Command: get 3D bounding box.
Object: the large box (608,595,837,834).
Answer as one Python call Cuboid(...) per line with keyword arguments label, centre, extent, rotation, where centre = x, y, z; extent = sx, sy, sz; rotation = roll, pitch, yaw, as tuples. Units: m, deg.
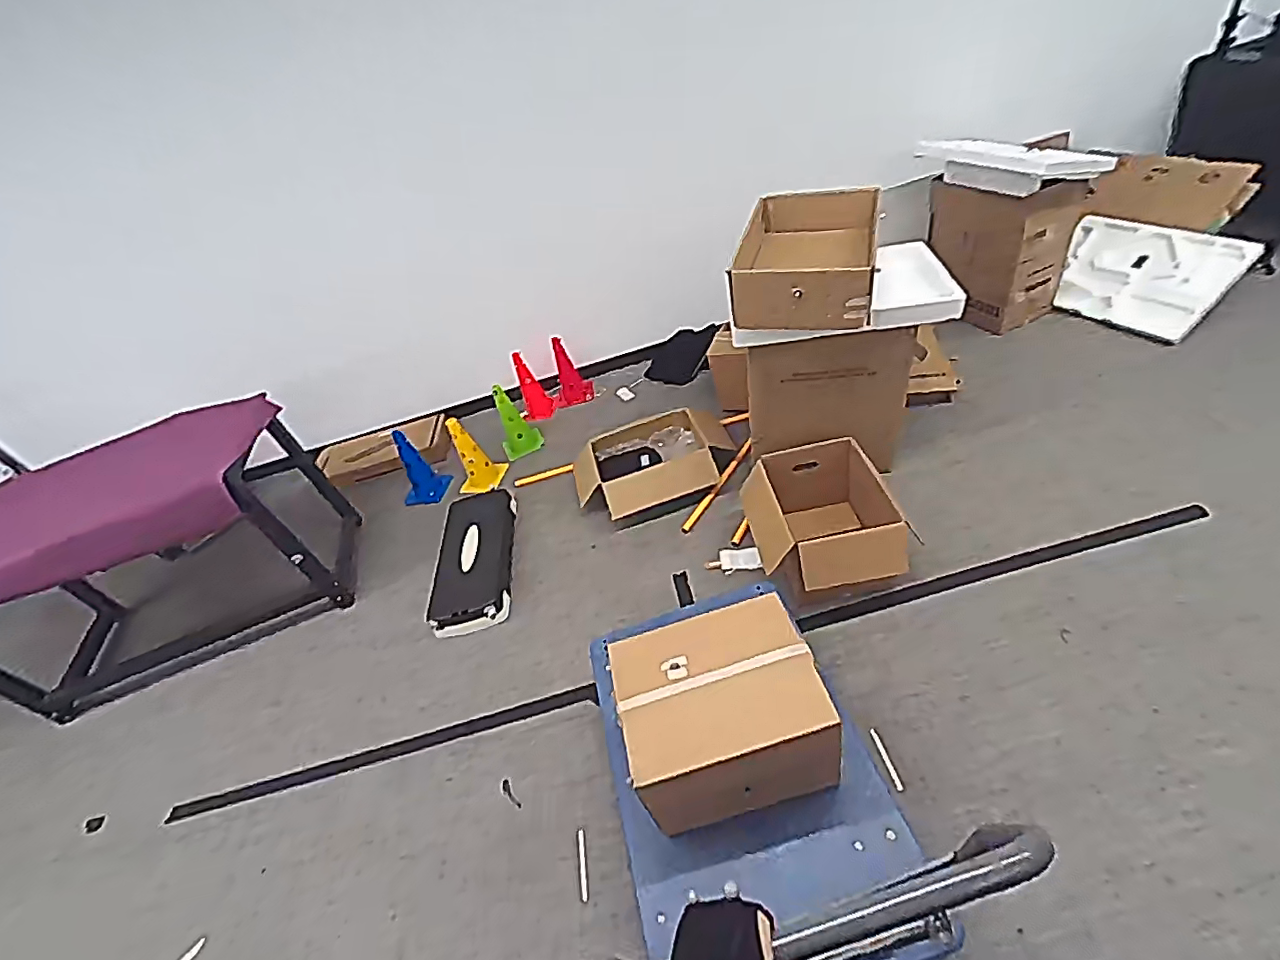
Cuboid(label="large box", centre=(0.183, 0.525, 1.214), extent=(0.408, 0.320, 0.320), rotation=(-19, 39, 0))
